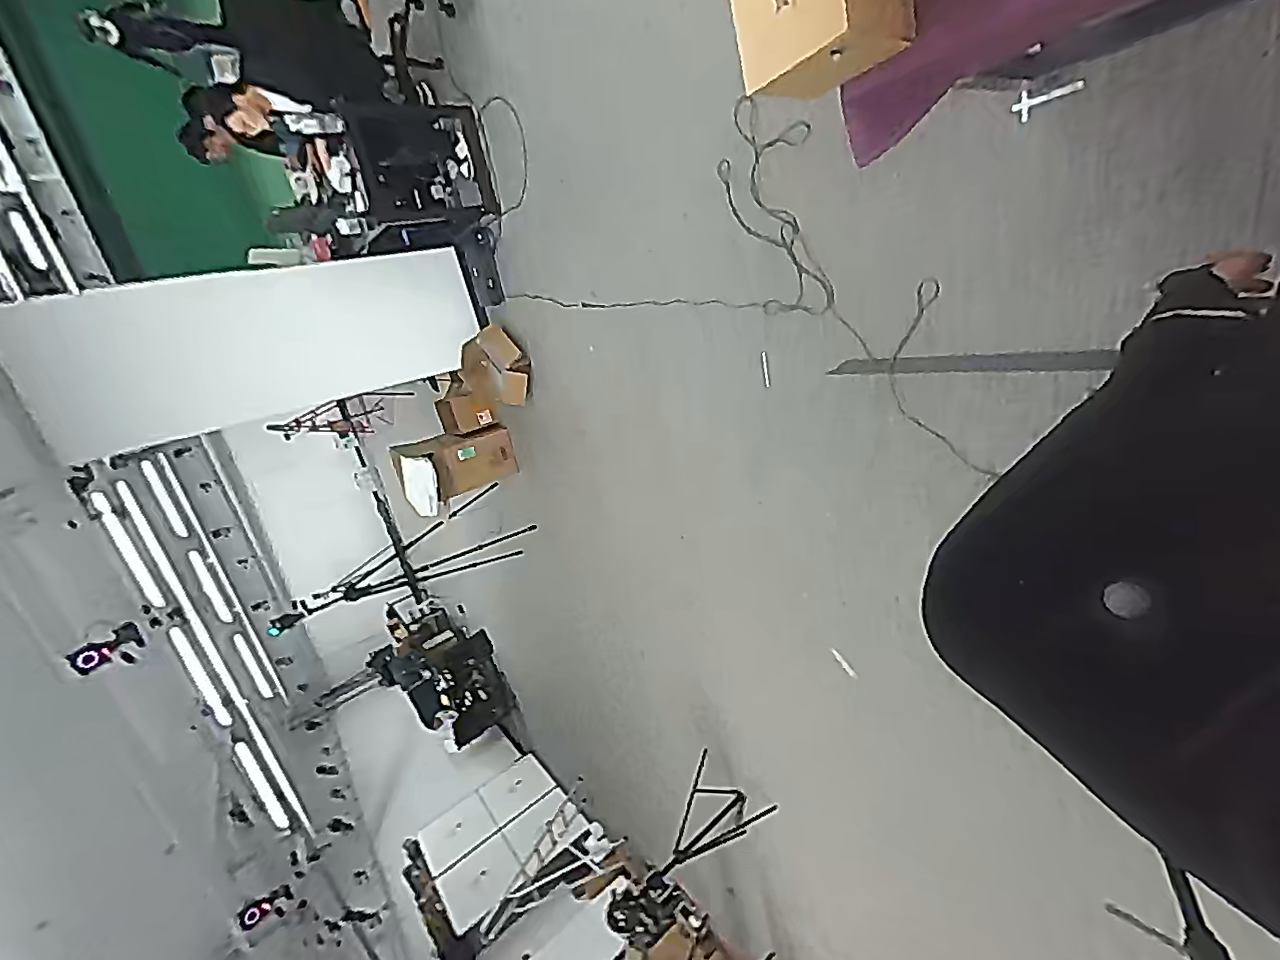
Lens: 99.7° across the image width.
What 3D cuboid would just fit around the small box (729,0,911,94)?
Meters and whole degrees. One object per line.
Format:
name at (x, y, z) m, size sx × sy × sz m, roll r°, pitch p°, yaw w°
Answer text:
small box at (0.251, -0.676, 0.766) m, size 0.179 × 0.176 × 0.168 m, roll 6°, pitch 116°, yaw 53°
